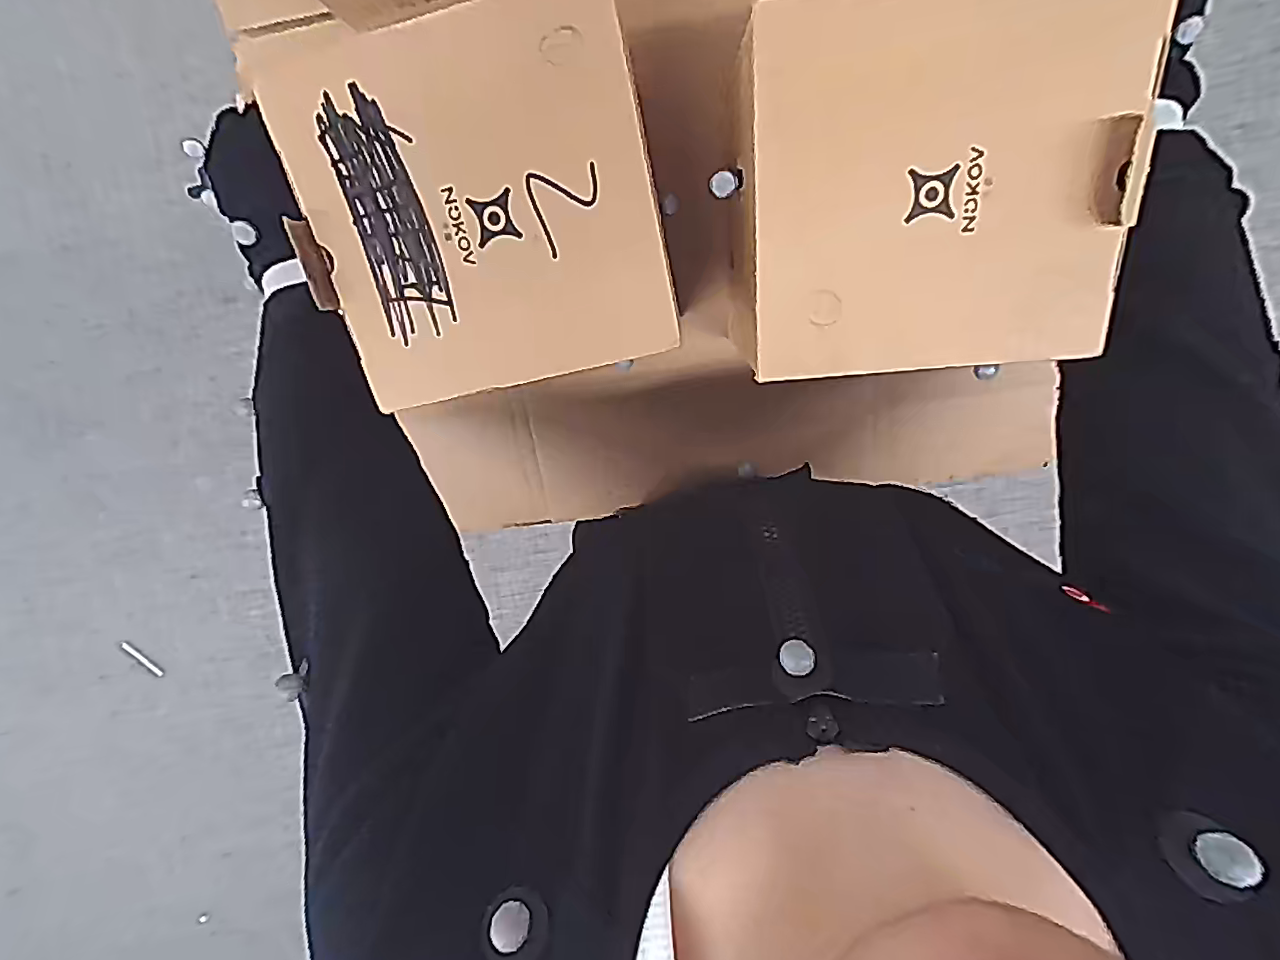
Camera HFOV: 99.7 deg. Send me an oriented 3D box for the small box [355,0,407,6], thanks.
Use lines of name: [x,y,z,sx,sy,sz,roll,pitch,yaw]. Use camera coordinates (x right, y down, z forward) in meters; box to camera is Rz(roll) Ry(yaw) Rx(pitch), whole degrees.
small box: [-0.142,-0.383,0.269,0.168,0.176,0.179,-7,108,6]
